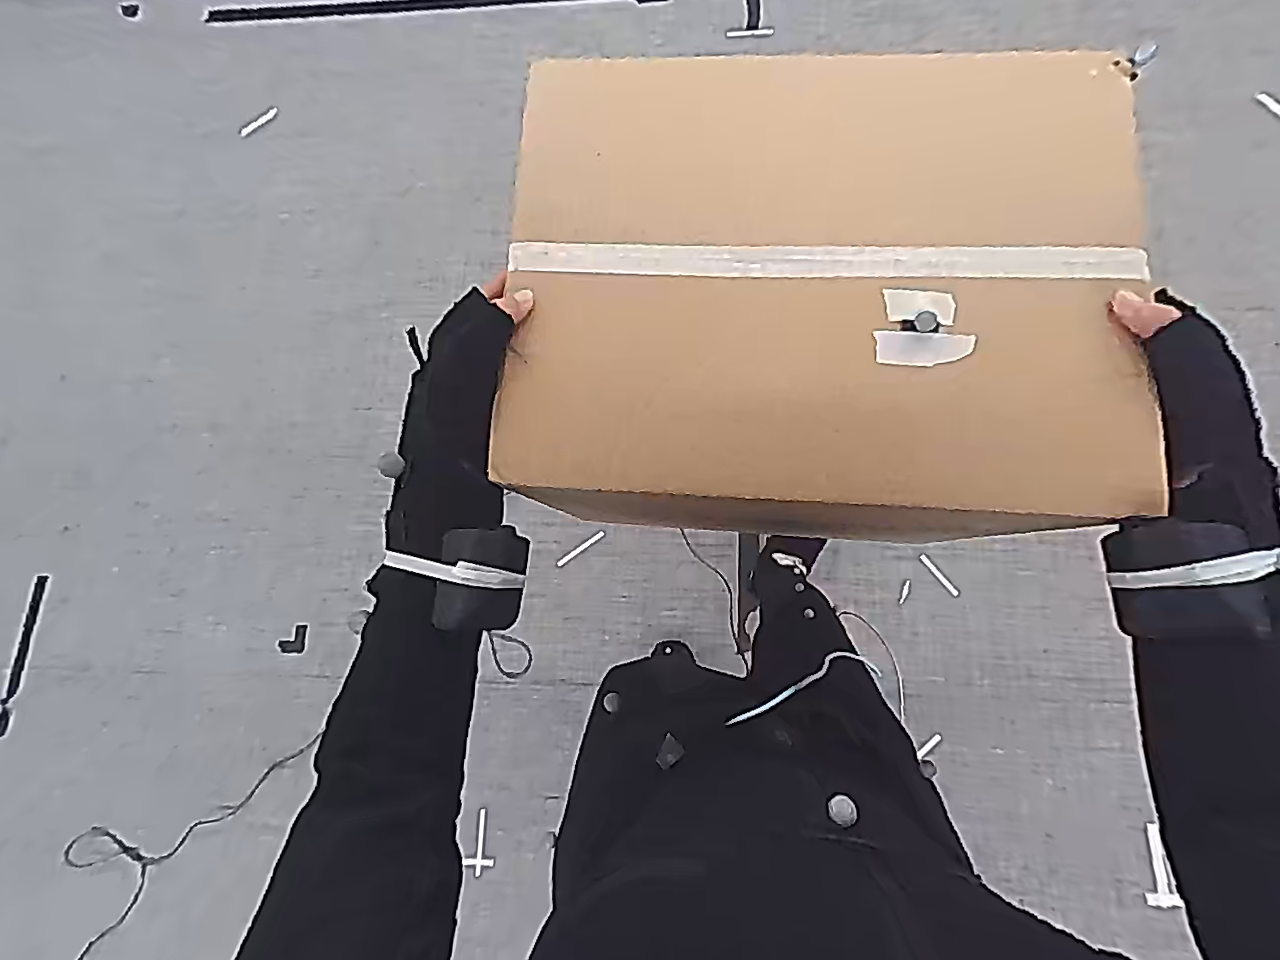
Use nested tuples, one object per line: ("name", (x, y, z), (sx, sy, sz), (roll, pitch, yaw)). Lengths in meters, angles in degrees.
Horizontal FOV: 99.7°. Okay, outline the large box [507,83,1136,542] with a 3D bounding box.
("large box", (0.123, -0.108, 0.514), (0.408, 0.320, 0.320), (3, 82, 5))
